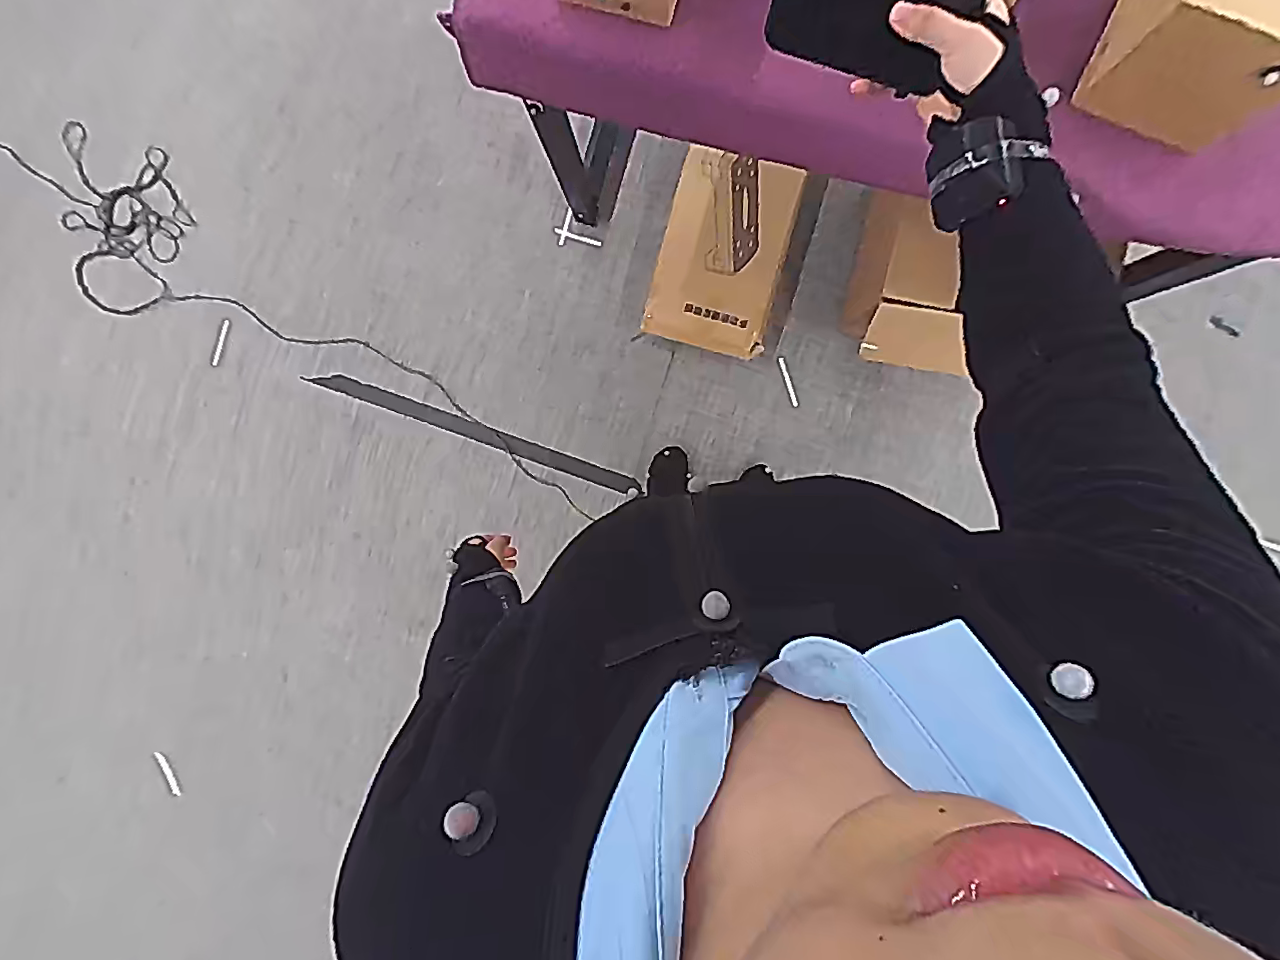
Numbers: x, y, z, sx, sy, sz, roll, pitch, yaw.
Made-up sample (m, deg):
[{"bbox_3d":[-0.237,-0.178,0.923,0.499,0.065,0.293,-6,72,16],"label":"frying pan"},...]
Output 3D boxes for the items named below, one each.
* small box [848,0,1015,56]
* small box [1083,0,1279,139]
[{"bbox_3d":[0.371,-0.645,0.628,0.179,0.176,0.168,16,92,3],"label":"small box"},{"bbox_3d":[0.669,-0.533,0.614,0.179,0.176,0.168,23,94,2],"label":"small box"}]
